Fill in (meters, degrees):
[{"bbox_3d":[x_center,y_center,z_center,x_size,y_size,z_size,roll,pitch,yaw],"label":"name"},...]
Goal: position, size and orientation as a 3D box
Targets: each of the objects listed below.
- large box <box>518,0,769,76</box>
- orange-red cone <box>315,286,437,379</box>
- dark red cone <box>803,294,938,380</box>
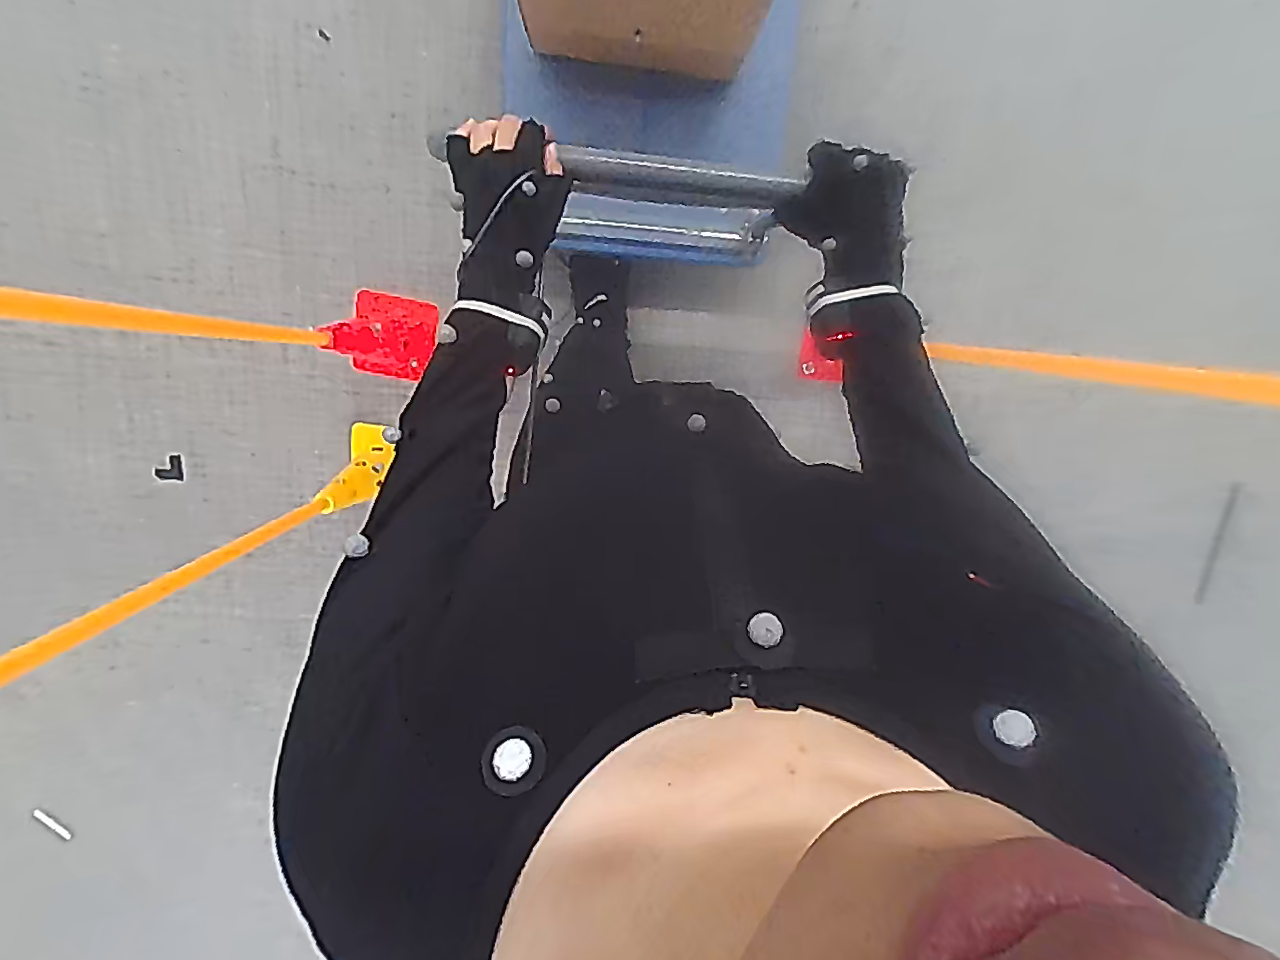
[{"bbox_3d":[0.010,-0.927,0.895,0.408,0.320,0.320,5,105,-4],"label":"large box"},{"bbox_3d":[-0.601,-0.322,1.177,0.198,0.360,0.199,11,103,-7],"label":"orange-red cone"},{"bbox_3d":[0.532,-0.319,1.215,0.201,0.394,0.202,4,105,-6],"label":"dark red cone"}]
